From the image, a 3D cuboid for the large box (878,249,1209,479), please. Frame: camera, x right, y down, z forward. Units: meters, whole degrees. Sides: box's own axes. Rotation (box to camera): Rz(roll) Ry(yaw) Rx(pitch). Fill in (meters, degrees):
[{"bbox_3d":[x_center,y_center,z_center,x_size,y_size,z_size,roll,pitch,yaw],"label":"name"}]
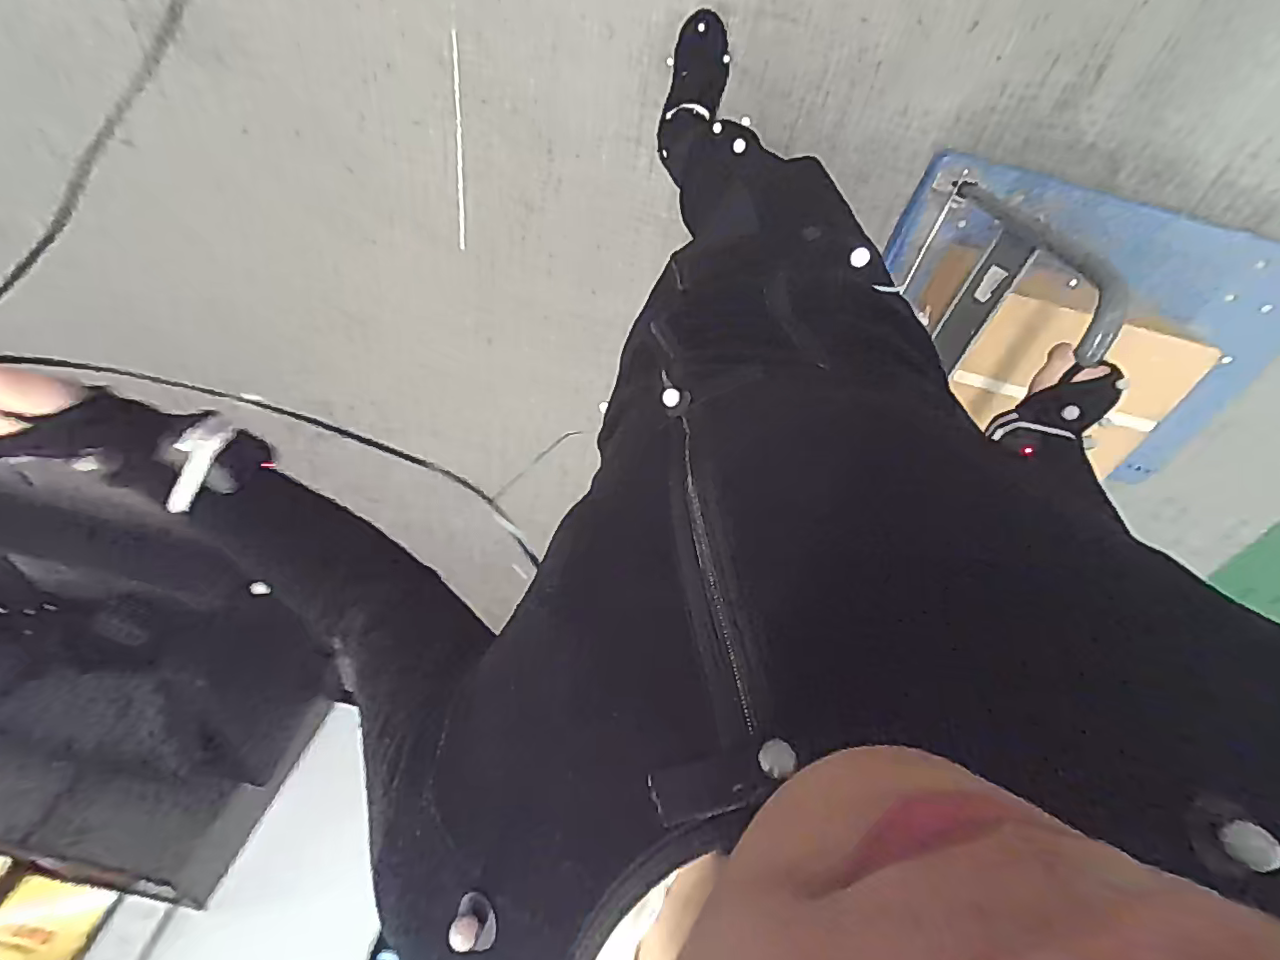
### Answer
[{"bbox_3d":[0.784,-0.254,1.141,0.408,0.320,0.320,15,129,0],"label":"large box"}]
